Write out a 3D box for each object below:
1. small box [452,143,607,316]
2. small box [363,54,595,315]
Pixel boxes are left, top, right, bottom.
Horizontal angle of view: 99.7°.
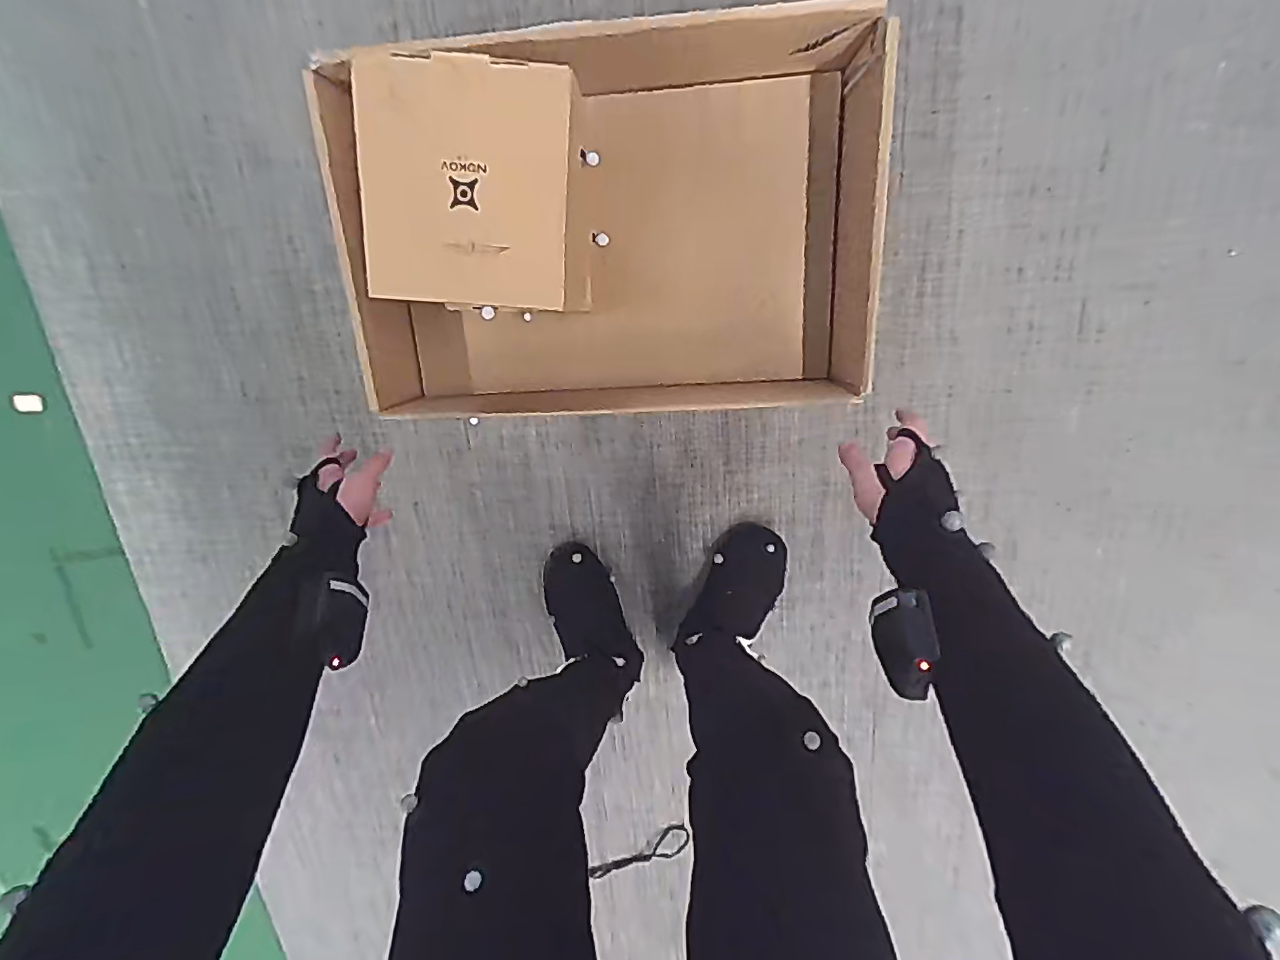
[{"bbox_3d":[-0.129,-0.294,0.663,0.168,0.176,0.179,1,108,1],"label":"small box"},{"bbox_3d":[-0.133,-0.253,0.506,0.168,0.176,0.179,5,107,0],"label":"small box"}]
